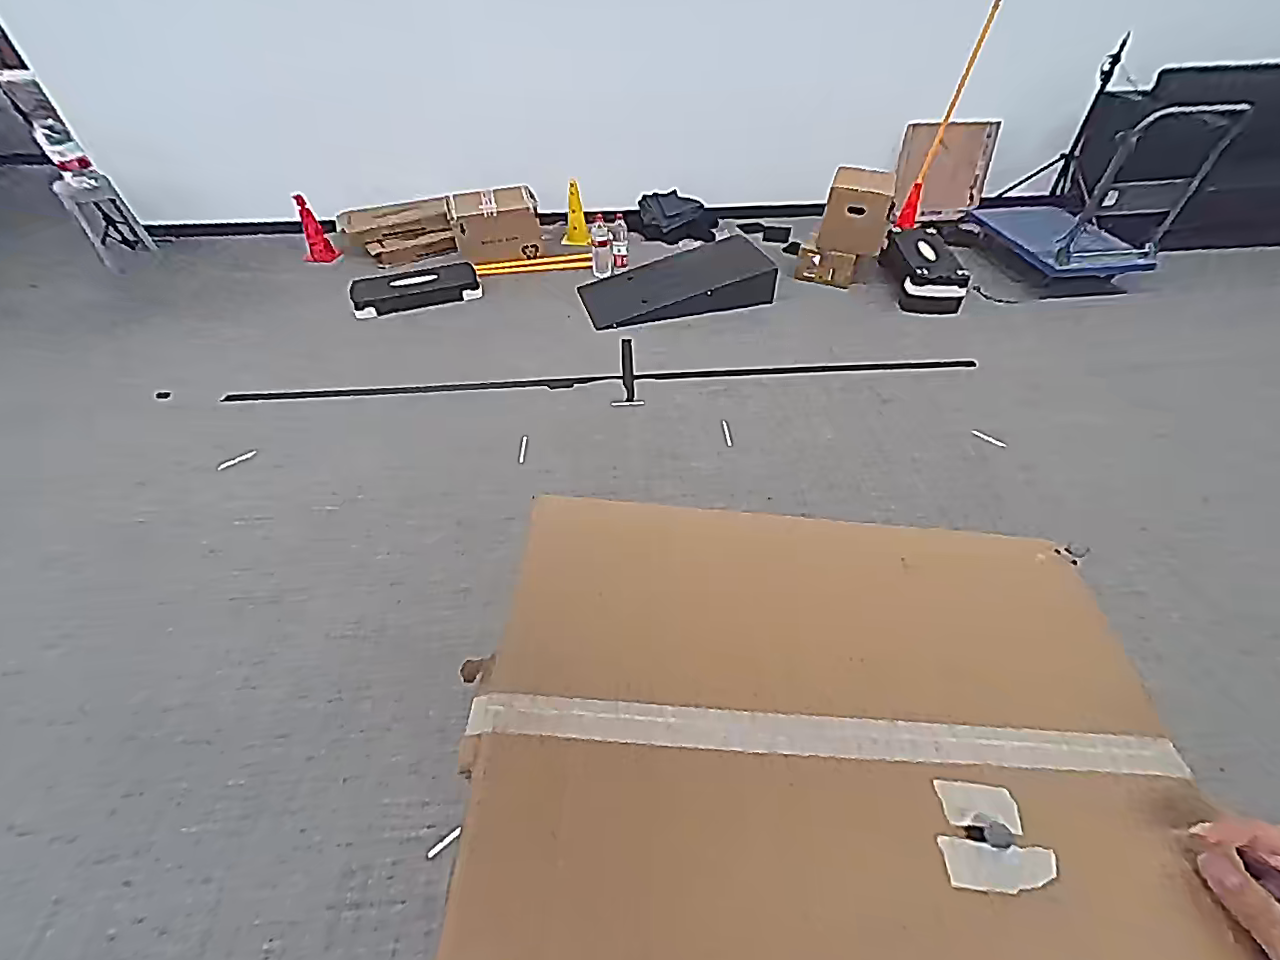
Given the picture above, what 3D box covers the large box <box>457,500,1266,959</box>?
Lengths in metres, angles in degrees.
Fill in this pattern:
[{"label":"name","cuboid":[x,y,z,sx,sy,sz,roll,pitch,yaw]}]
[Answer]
[{"label":"large box","cuboid":[0.101,0.242,0.436,0.408,0.320,0.320,6,51,-3]}]
